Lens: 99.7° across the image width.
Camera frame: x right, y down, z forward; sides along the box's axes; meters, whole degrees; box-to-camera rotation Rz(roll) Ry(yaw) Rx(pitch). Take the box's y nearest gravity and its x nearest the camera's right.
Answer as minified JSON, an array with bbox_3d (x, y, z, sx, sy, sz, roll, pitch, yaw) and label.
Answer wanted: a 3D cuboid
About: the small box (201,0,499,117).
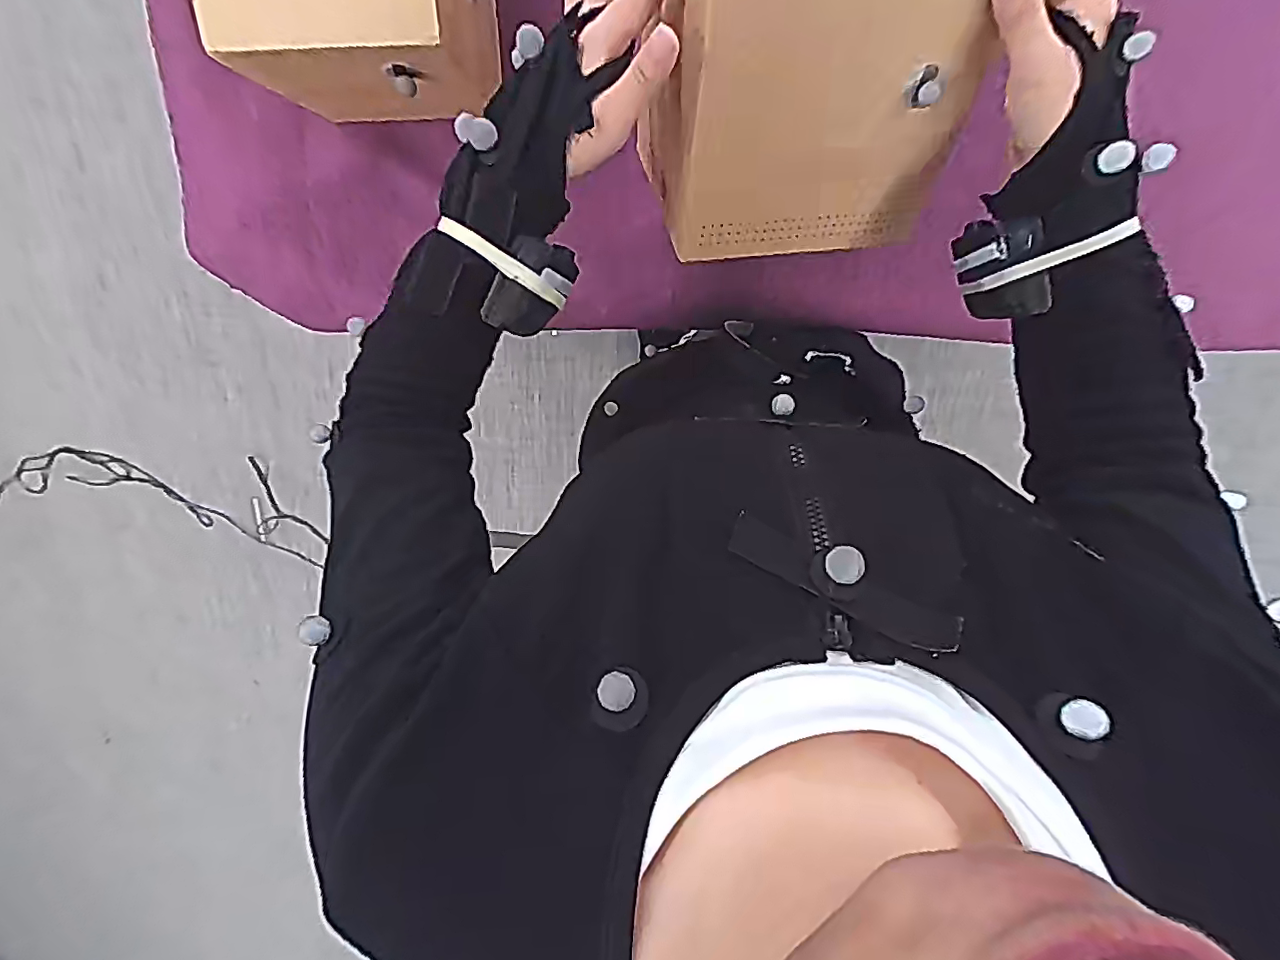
[{"bbox_3d":[-0.220,-0.412,0.435,0.179,0.176,0.168,0,109,2],"label":"small box"}]
